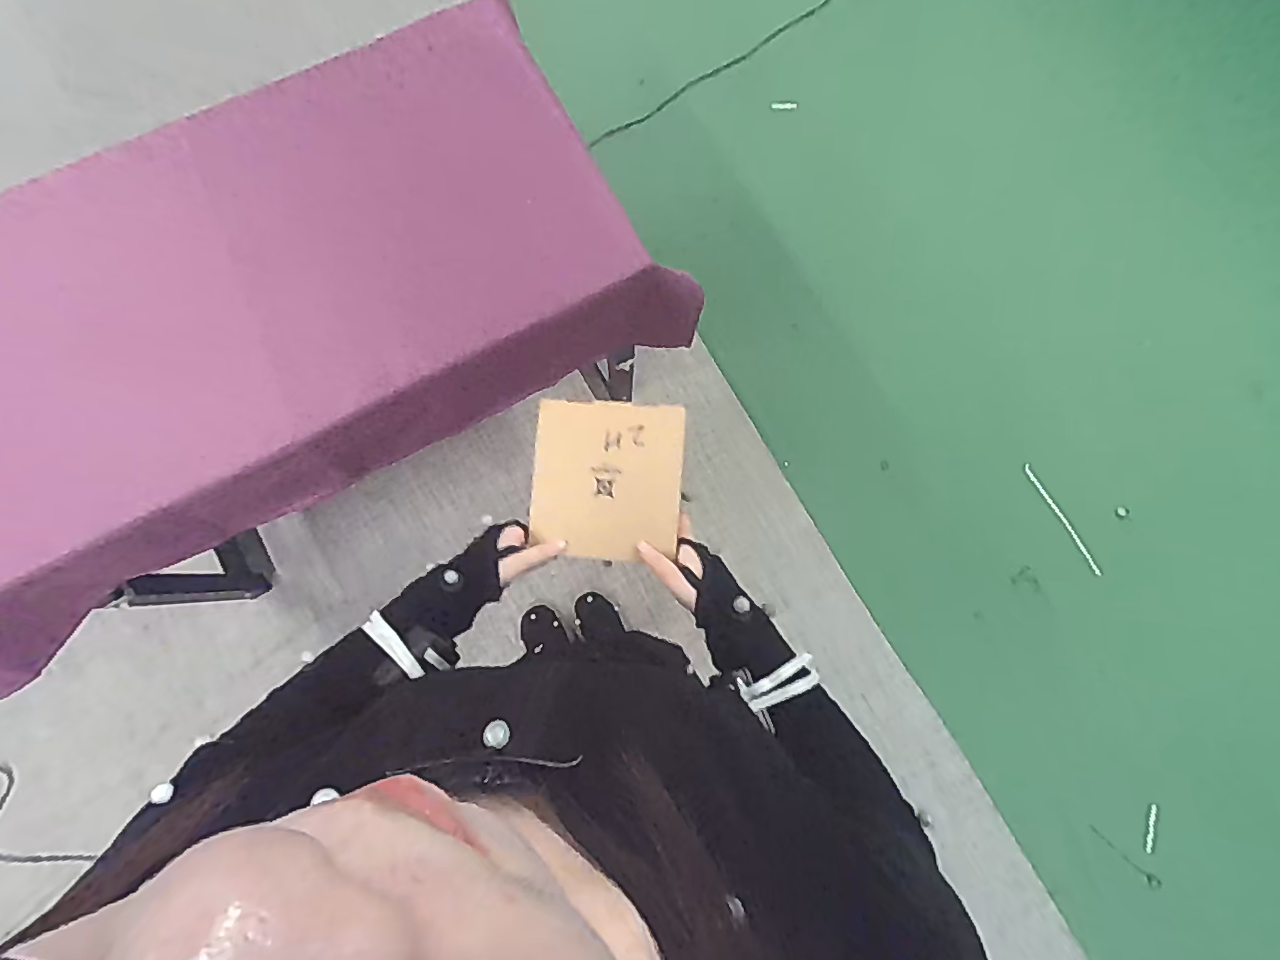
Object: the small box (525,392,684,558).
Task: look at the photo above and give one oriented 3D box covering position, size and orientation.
[{"bbox_3d":[-0.034,-0.002,0.685,0.168,0.176,0.179,5,86,6],"label":"small box"}]
